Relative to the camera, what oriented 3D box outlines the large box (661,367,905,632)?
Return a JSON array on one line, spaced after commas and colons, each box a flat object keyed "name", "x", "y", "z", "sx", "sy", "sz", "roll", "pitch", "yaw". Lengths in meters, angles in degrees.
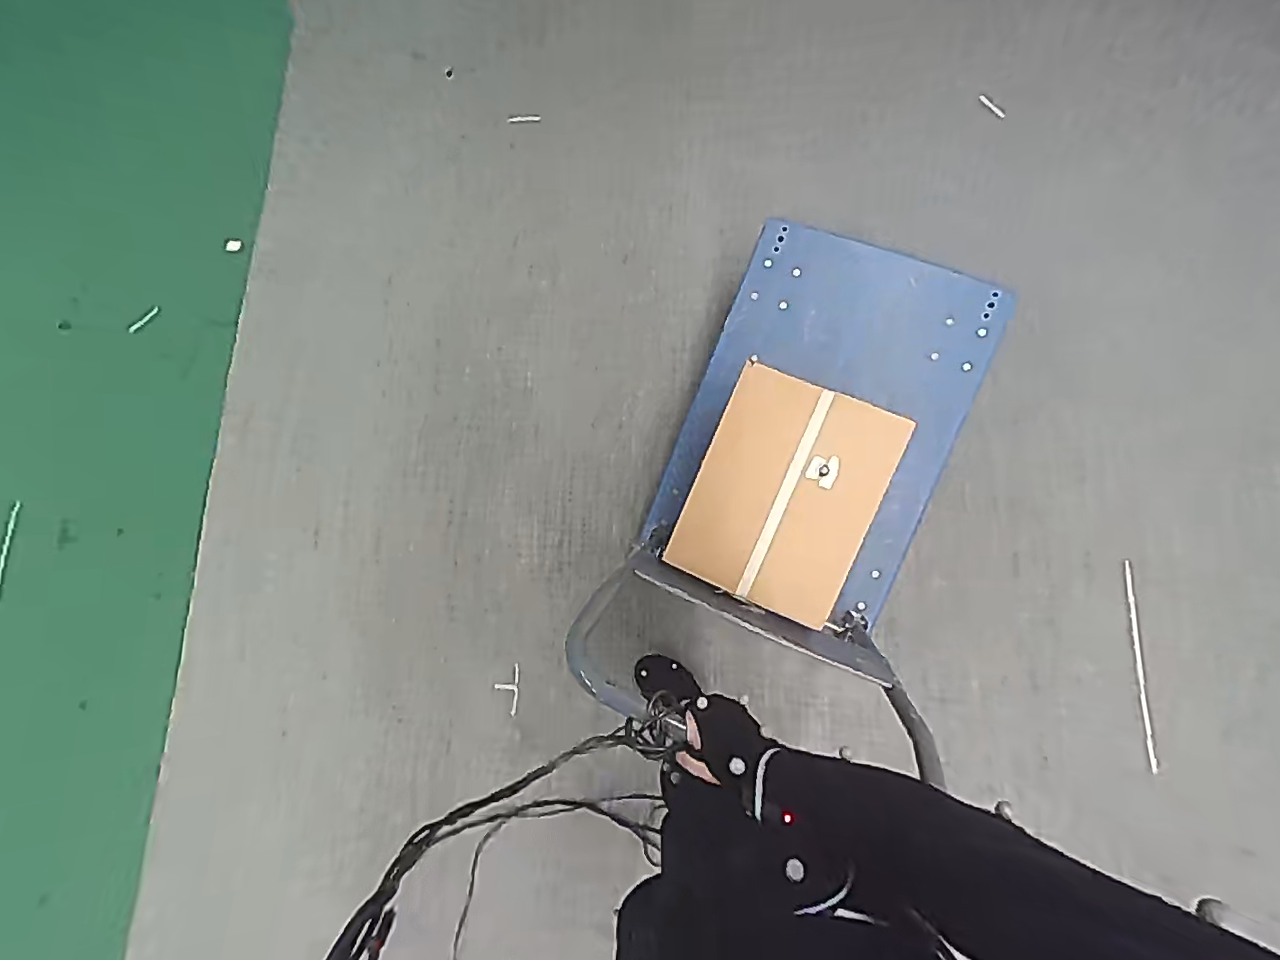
[{"name": "large box", "x": 0.278, "y": 0.036, "z": 1.122, "sx": 0.320, "sy": 0.320, "sz": 0.408, "roll": 24, "pitch": 94, "yaw": 10}]
